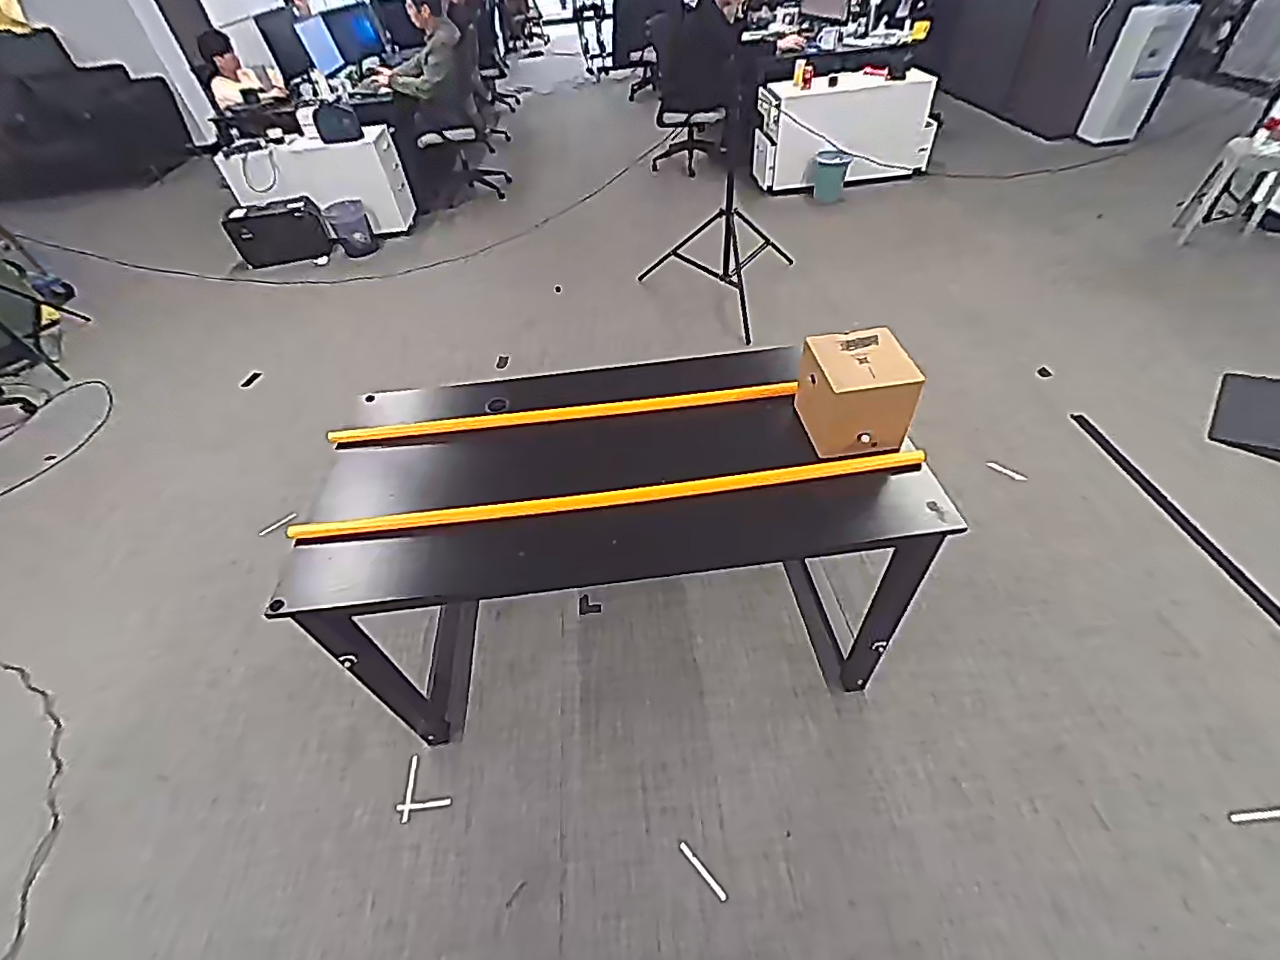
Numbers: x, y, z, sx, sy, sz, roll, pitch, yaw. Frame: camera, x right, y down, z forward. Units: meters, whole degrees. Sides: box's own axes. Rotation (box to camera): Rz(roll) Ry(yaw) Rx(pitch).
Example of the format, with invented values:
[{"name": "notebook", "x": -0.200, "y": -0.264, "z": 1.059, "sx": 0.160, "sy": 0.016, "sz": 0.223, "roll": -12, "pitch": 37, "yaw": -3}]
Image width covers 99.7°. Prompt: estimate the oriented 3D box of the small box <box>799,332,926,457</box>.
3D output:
[{"name": "small box", "x": 0.425, "y": -0.168, "z": 1.069, "sx": 0.168, "sy": 0.176, "sz": 0.179, "roll": -8, "pitch": 47, "yaw": 0}]
